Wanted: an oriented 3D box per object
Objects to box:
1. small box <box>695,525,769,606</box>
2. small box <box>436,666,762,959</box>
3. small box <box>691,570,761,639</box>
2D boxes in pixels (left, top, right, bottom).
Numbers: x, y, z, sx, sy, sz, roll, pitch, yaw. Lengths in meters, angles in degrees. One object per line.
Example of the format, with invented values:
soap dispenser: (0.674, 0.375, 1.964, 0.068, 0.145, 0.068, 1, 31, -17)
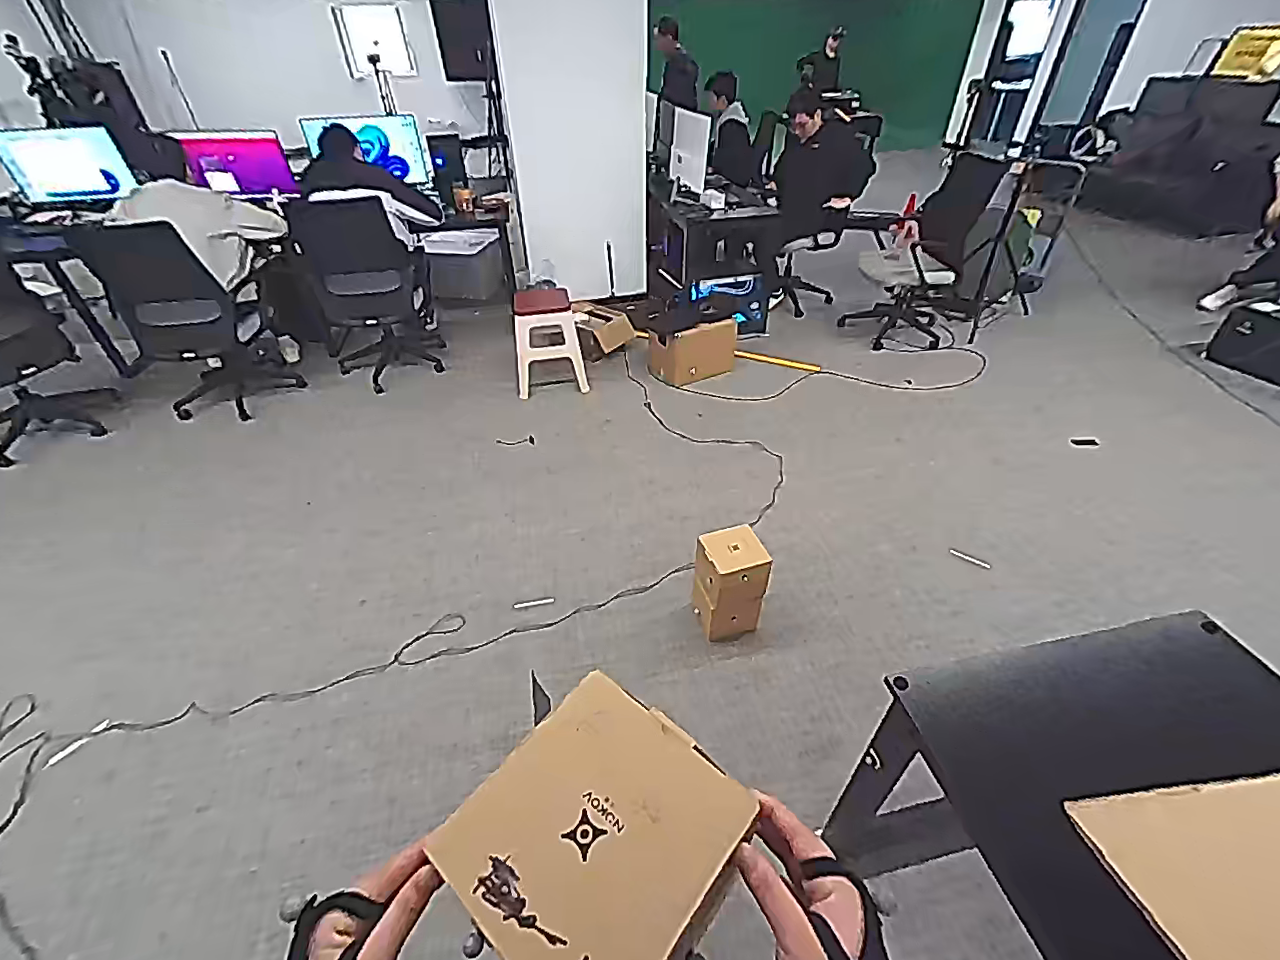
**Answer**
small box: (0.281, 0.270, 1.691, 0.179, 0.176, 0.168, -12, 41, -14)
small box: (-0.026, 0.297, 0.434, 0.168, 0.176, 0.179, 27, 49, 31)
small box: (0.278, 0.397, 1.793, 0.179, 0.176, 0.168, -12, 40, -11)
